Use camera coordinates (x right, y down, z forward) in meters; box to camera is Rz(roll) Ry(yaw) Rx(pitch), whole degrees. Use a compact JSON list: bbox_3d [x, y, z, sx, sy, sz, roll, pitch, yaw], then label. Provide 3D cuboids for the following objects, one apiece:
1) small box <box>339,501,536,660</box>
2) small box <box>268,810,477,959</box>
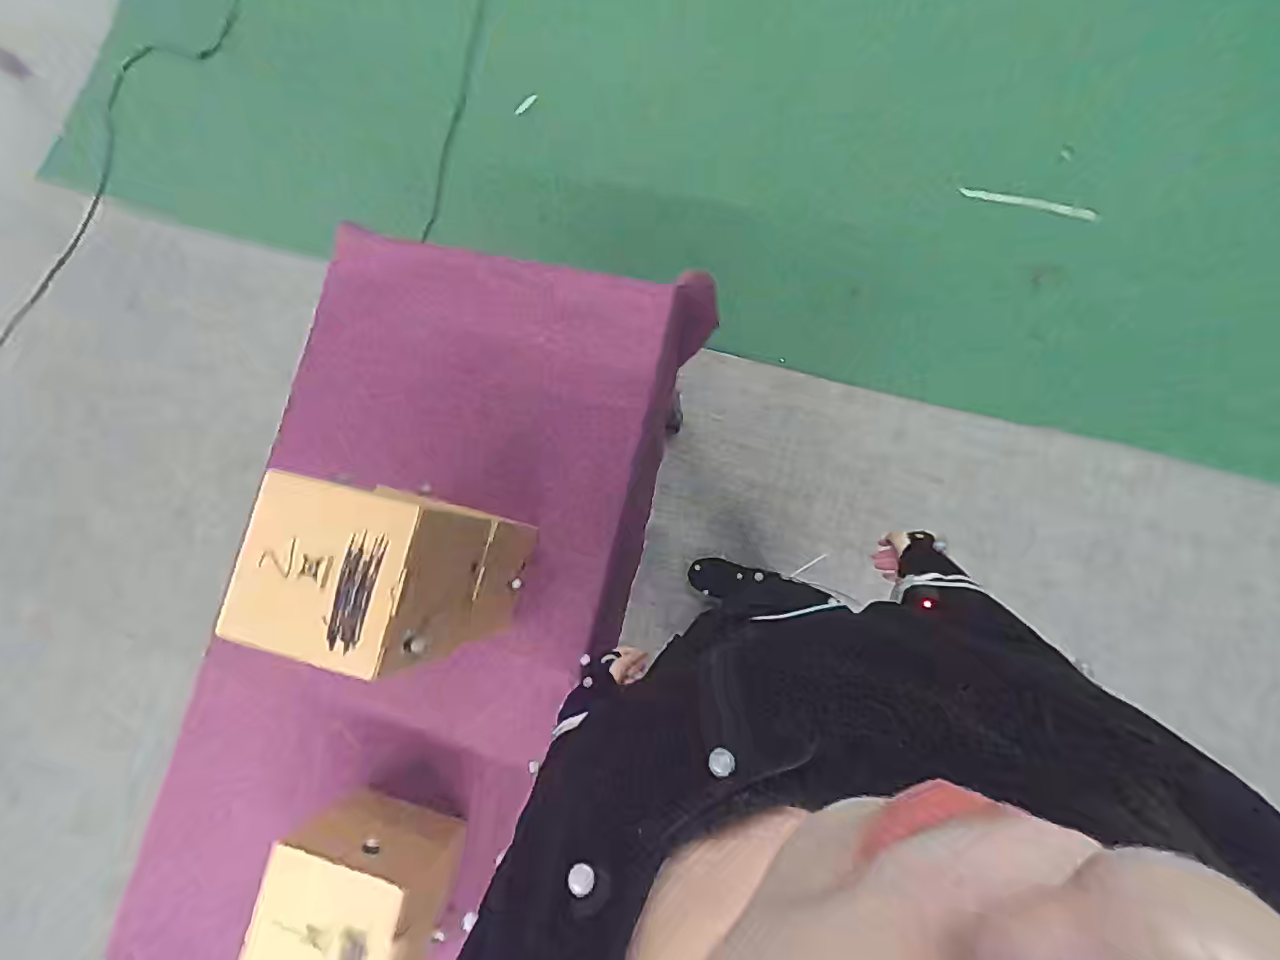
[{"bbox_3d":[-0.269,0.136,0.756,0.179,0.176,0.168,12,84,10],"label":"small box"},{"bbox_3d":[-0.336,0.561,0.699,0.179,0.176,0.168,9,82,10],"label":"small box"}]
